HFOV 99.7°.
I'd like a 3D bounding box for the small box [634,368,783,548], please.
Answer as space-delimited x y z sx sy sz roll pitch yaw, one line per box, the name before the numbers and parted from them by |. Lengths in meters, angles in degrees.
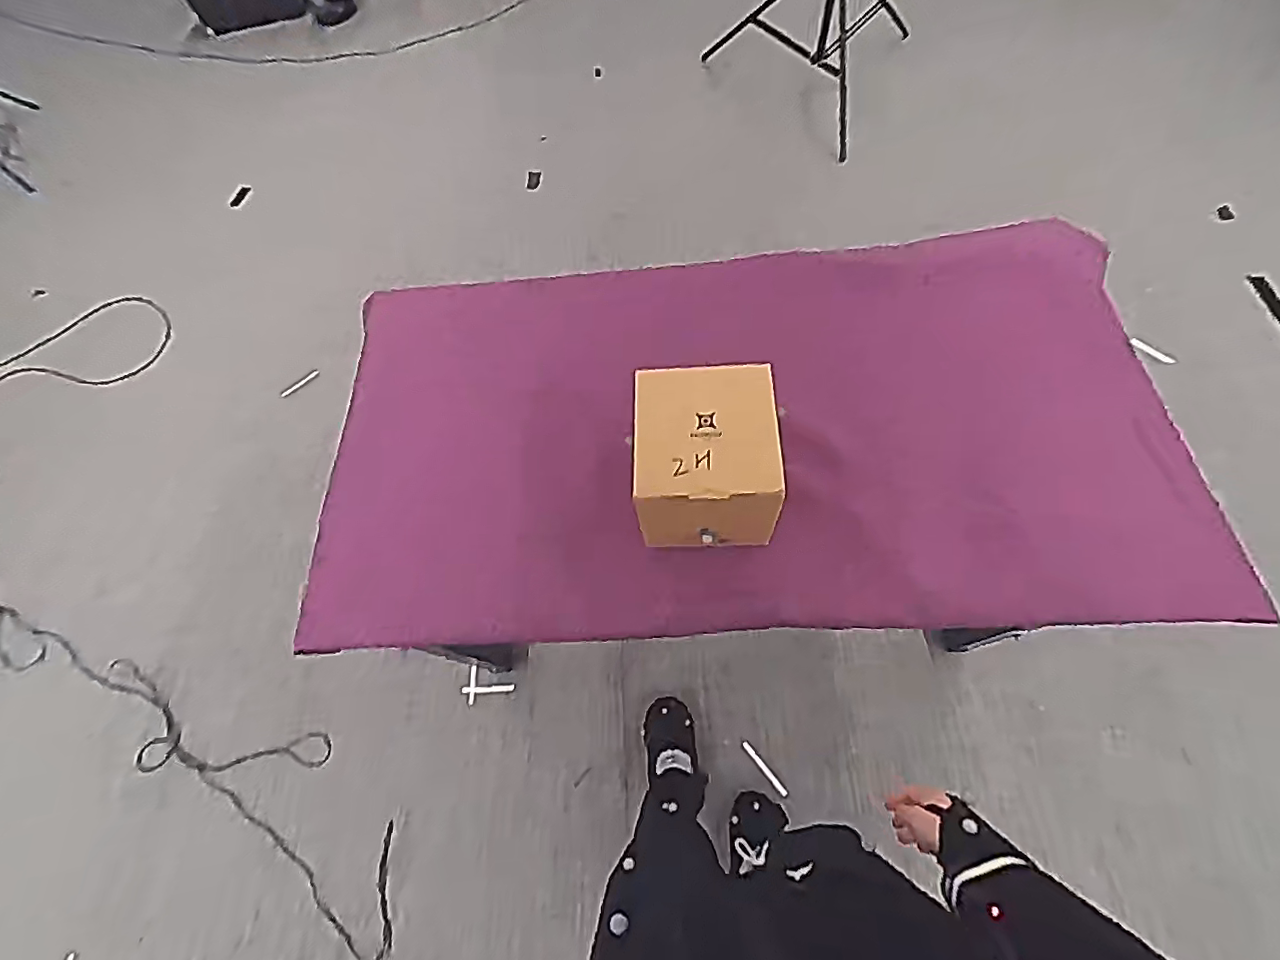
small box | 0.082 -0.022 0.697 0.168 0.176 0.179 -2 64 5
